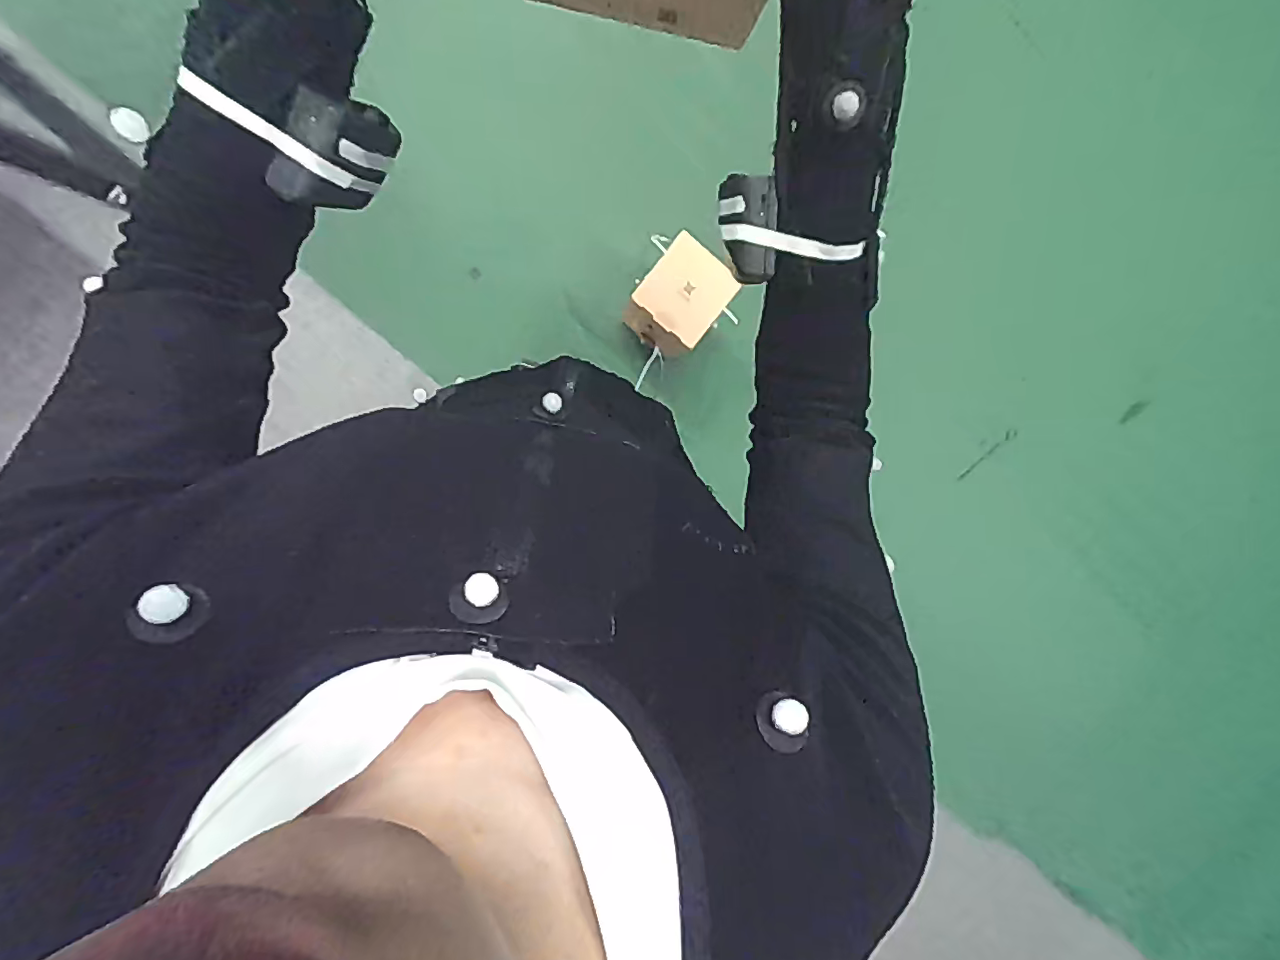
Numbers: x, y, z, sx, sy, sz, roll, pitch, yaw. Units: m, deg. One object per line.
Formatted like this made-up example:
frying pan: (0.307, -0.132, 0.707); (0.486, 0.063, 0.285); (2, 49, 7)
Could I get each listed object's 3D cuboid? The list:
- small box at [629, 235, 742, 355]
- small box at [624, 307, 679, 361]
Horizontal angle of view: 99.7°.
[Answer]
small box: (0.088, -0.395, 1.190); (0.168, 0.176, 0.179); (38, 94, -10)
small box: (0.073, -0.418, 1.351); (0.168, 0.176, 0.179); (40, 93, -10)
